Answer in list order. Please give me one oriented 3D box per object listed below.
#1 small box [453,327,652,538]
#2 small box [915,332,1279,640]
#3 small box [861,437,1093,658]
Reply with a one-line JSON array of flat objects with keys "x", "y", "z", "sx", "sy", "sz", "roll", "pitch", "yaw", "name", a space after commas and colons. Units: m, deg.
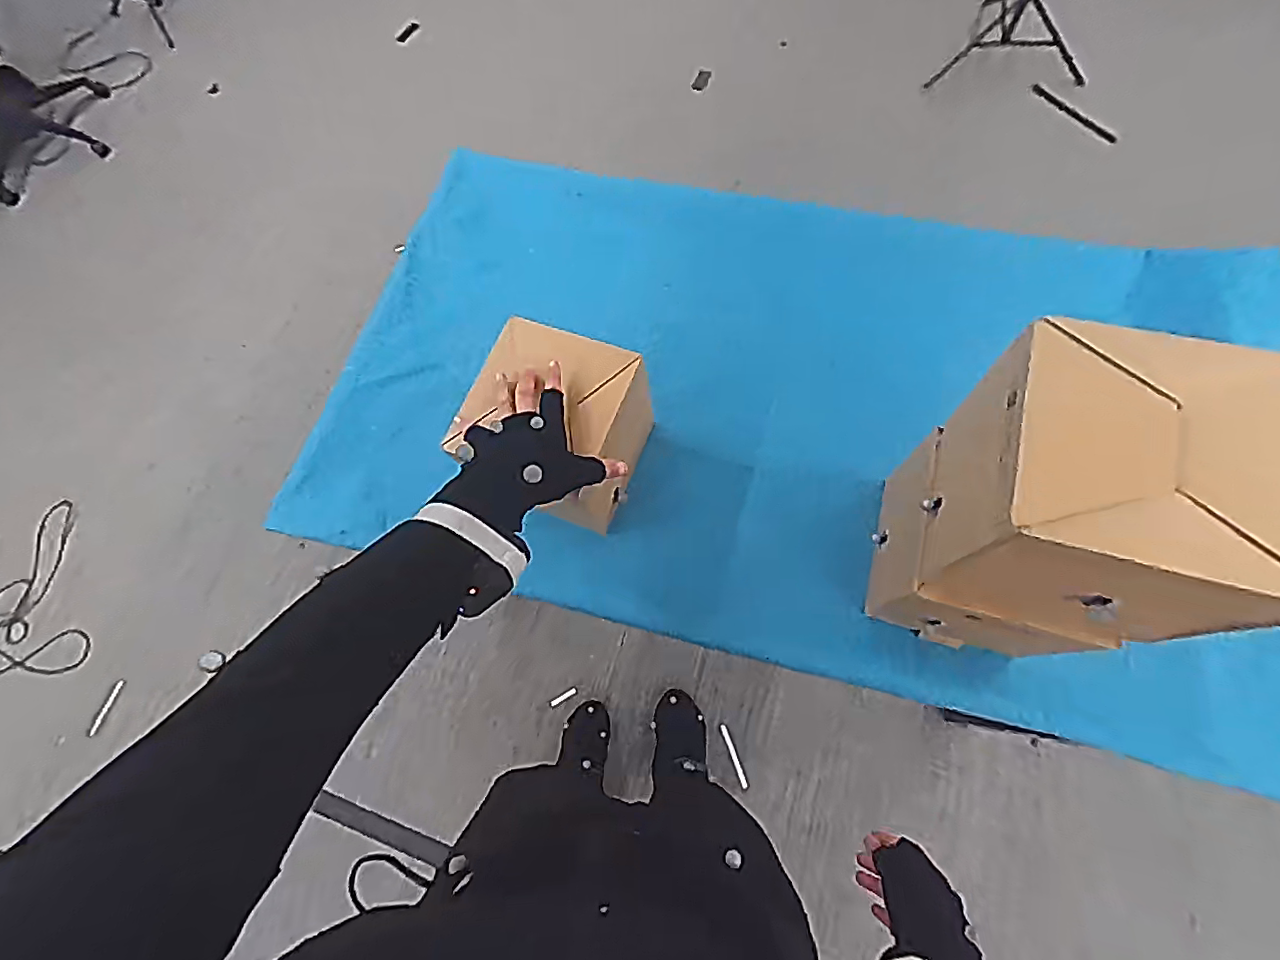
[{"x": -0.096, "y": -0.053, "z": 0.658, "sx": 0.168, "sy": 0.176, "sz": 0.179, "roll": 19, "pitch": 73, "yaw": 12, "name": "small box"}, {"x": 0.339, "y": 0.012, "z": 0.415, "sx": 0.179, "sy": 0.176, "sz": 0.168, "roll": 15, "pitch": 70, "yaw": 14, "name": "small box"}, {"x": 0.348, "y": 0.073, "z": 0.567, "sx": 0.168, "sy": 0.176, "sz": 0.179, "roll": 14, "pitch": 72, "yaw": 11, "name": "small box"}]
